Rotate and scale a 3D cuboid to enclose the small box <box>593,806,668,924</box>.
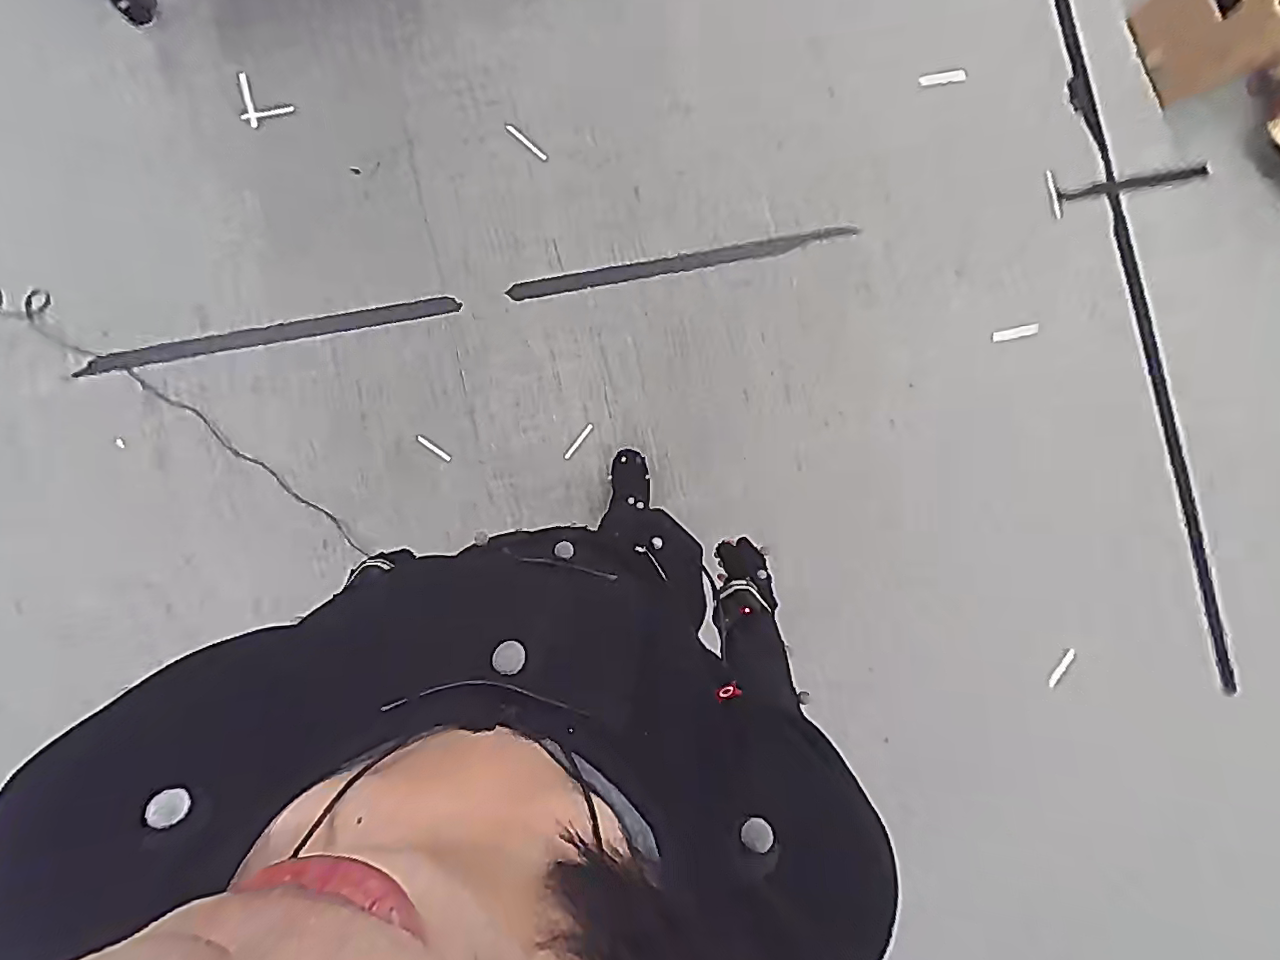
[{"bbox_3d":[-0.029,1.005,1.424,0.168,0.176,0.179,-10,88,-5],"label":"small box"}]
